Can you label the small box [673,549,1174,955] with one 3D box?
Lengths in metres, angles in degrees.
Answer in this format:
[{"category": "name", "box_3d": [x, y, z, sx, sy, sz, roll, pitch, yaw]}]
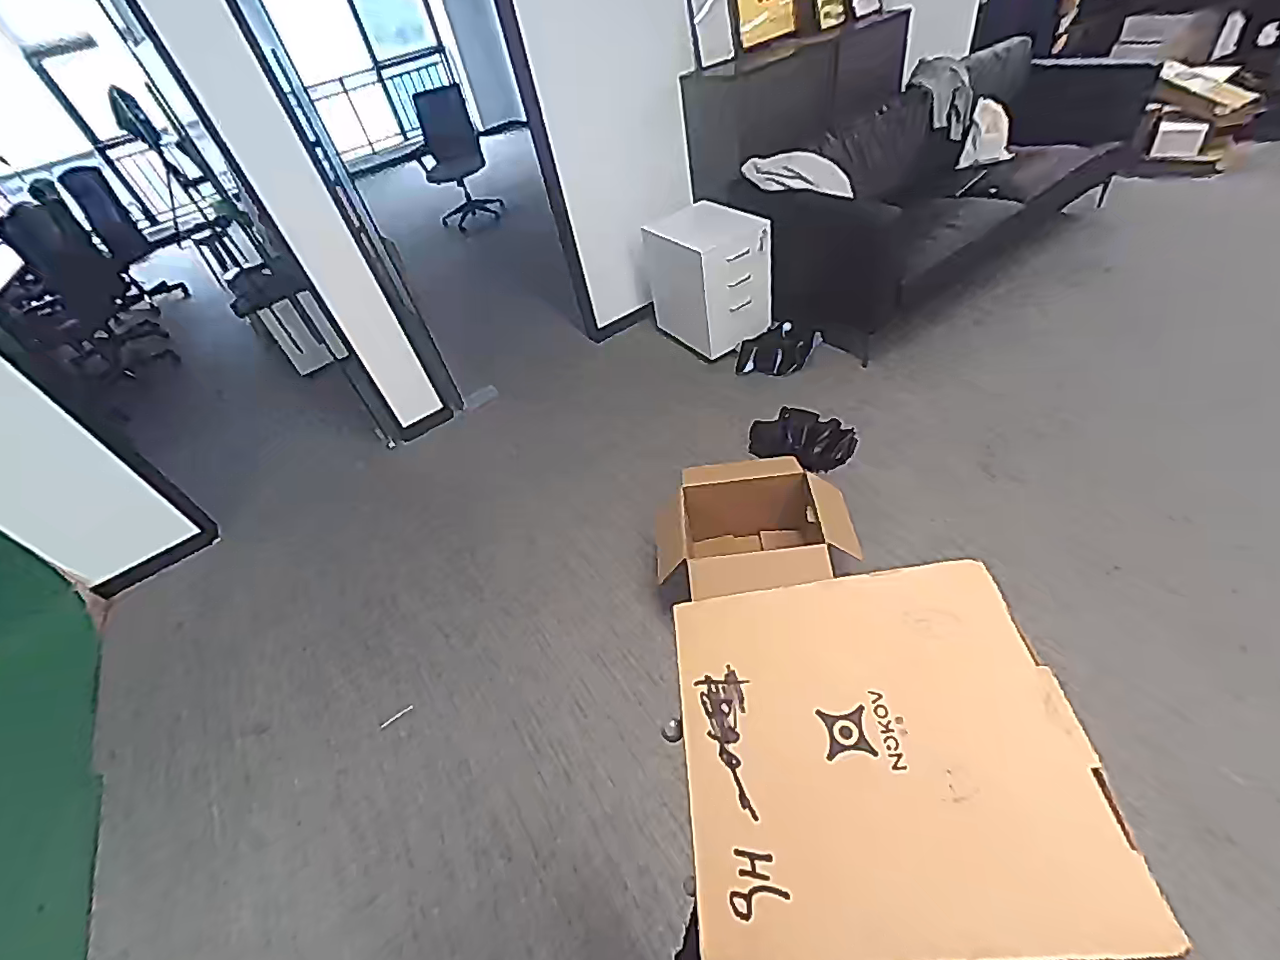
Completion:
[{"category": "small box", "box_3d": [0.121, 0.162, 0.313, 0.179, 0.176, 0.168, -9, 47, 8]}]
